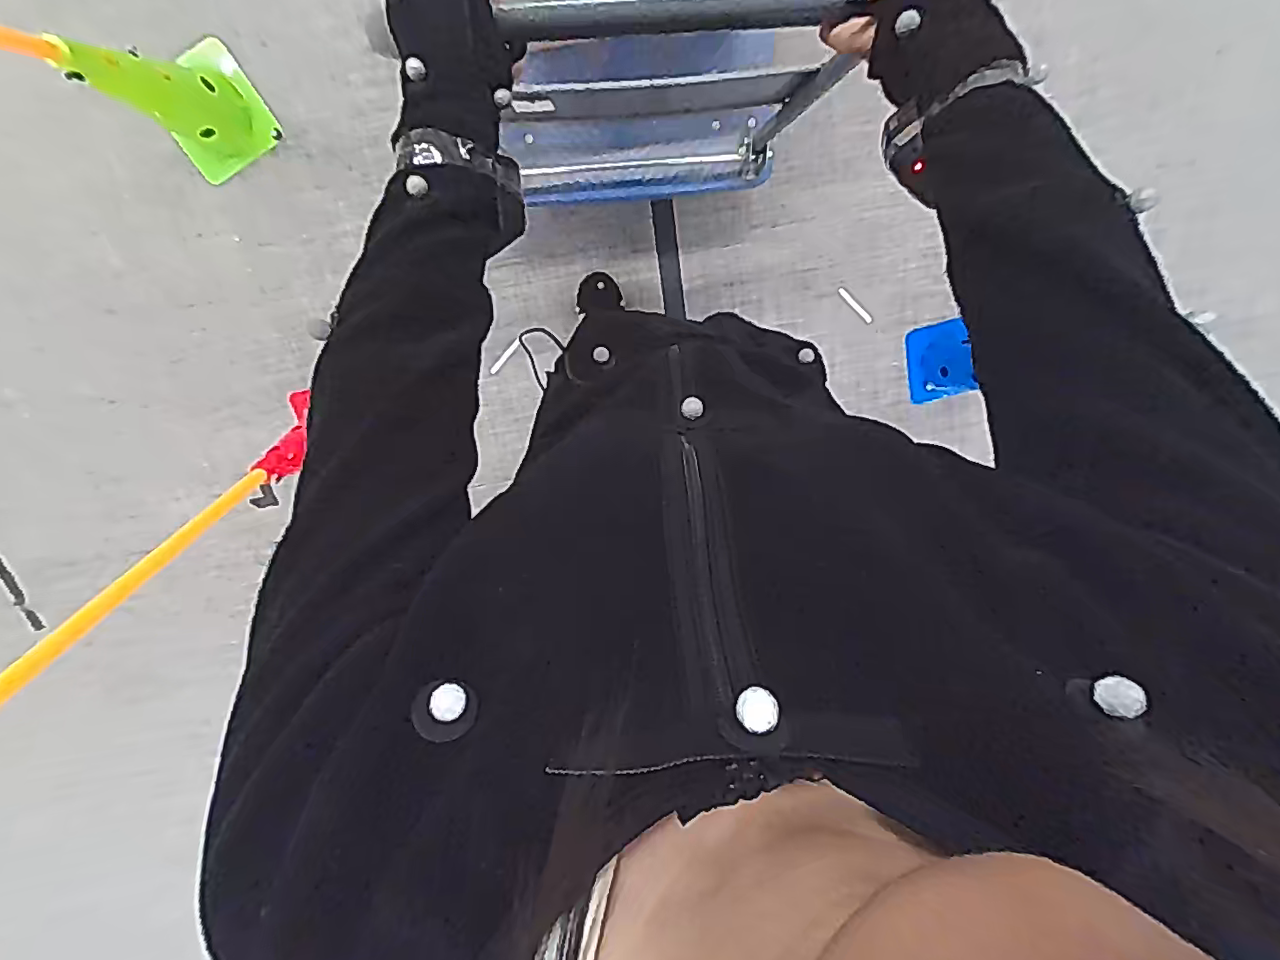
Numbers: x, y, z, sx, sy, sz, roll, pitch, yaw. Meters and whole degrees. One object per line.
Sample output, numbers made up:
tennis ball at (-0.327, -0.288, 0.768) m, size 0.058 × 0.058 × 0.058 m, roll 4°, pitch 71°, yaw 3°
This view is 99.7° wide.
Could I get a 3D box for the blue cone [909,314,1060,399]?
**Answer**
blue cone at (0.807, -0.258, 1.248) m, size 0.193 × 0.380 × 0.192 m, roll -14°, pitch 111°, yaw 1°
